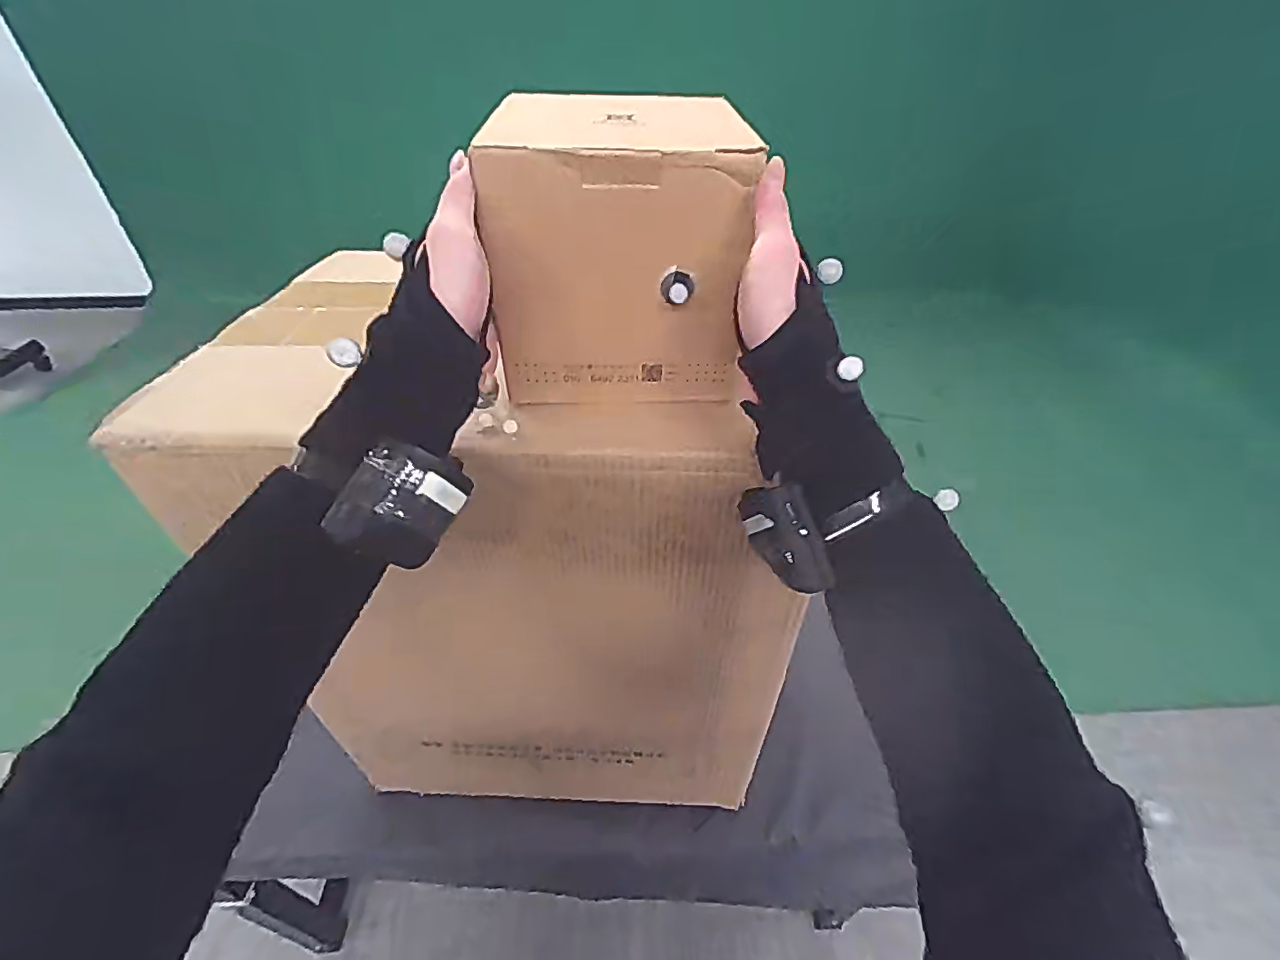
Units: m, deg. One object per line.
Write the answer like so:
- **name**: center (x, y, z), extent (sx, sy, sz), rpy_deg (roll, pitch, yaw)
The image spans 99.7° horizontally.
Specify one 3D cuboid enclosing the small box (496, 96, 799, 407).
- **small box**: center (0.000, -0.167, 0.399), extent (0.168, 0.176, 0.179), rpy_deg (0, 43, -4)
